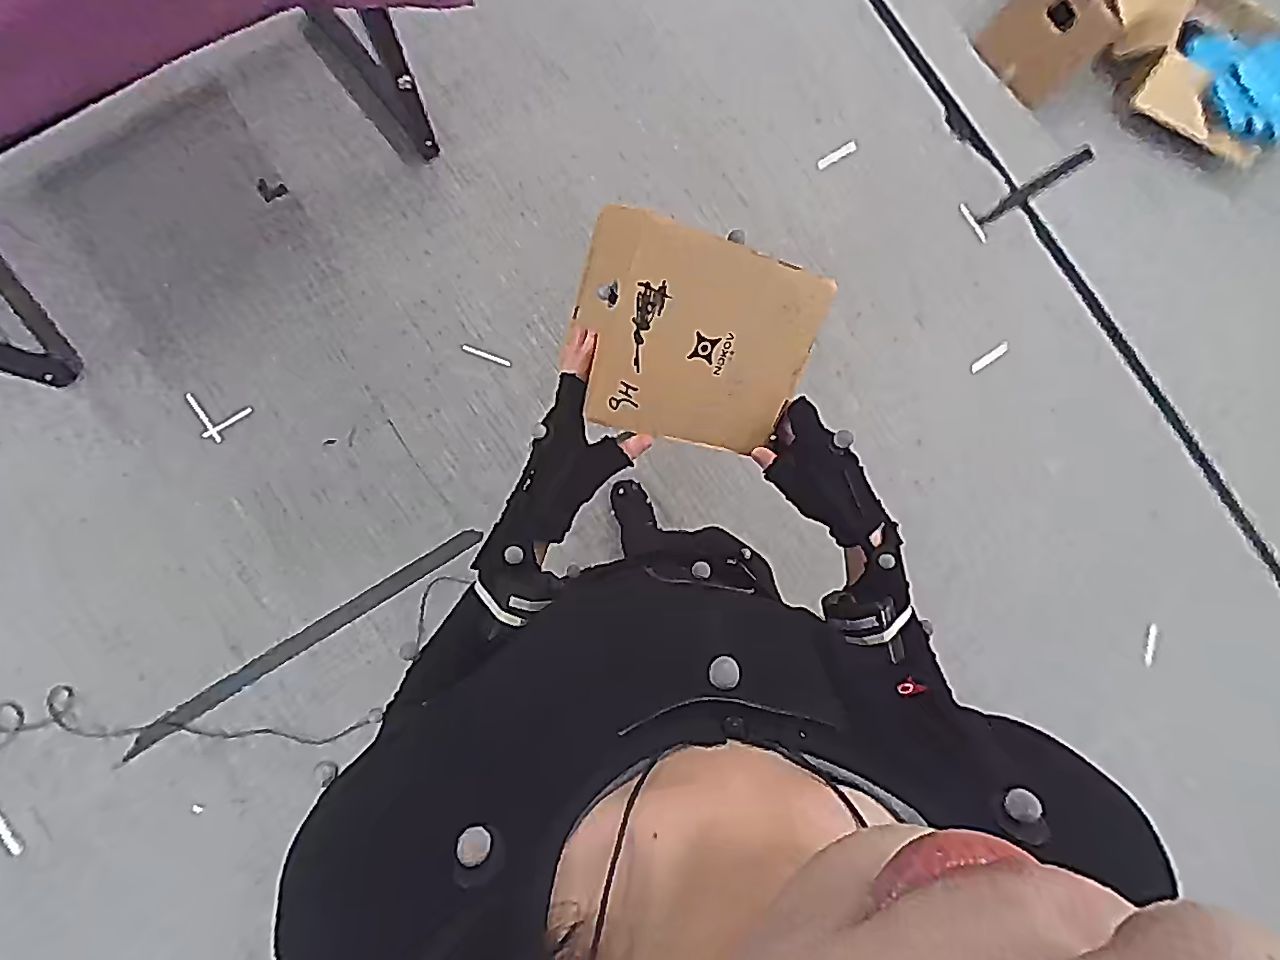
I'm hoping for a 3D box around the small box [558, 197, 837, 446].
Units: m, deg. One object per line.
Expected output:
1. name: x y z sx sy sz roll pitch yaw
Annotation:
1. small box: 0.036 -0.151 0.504 0.179 0.176 0.168 10 113 -23
